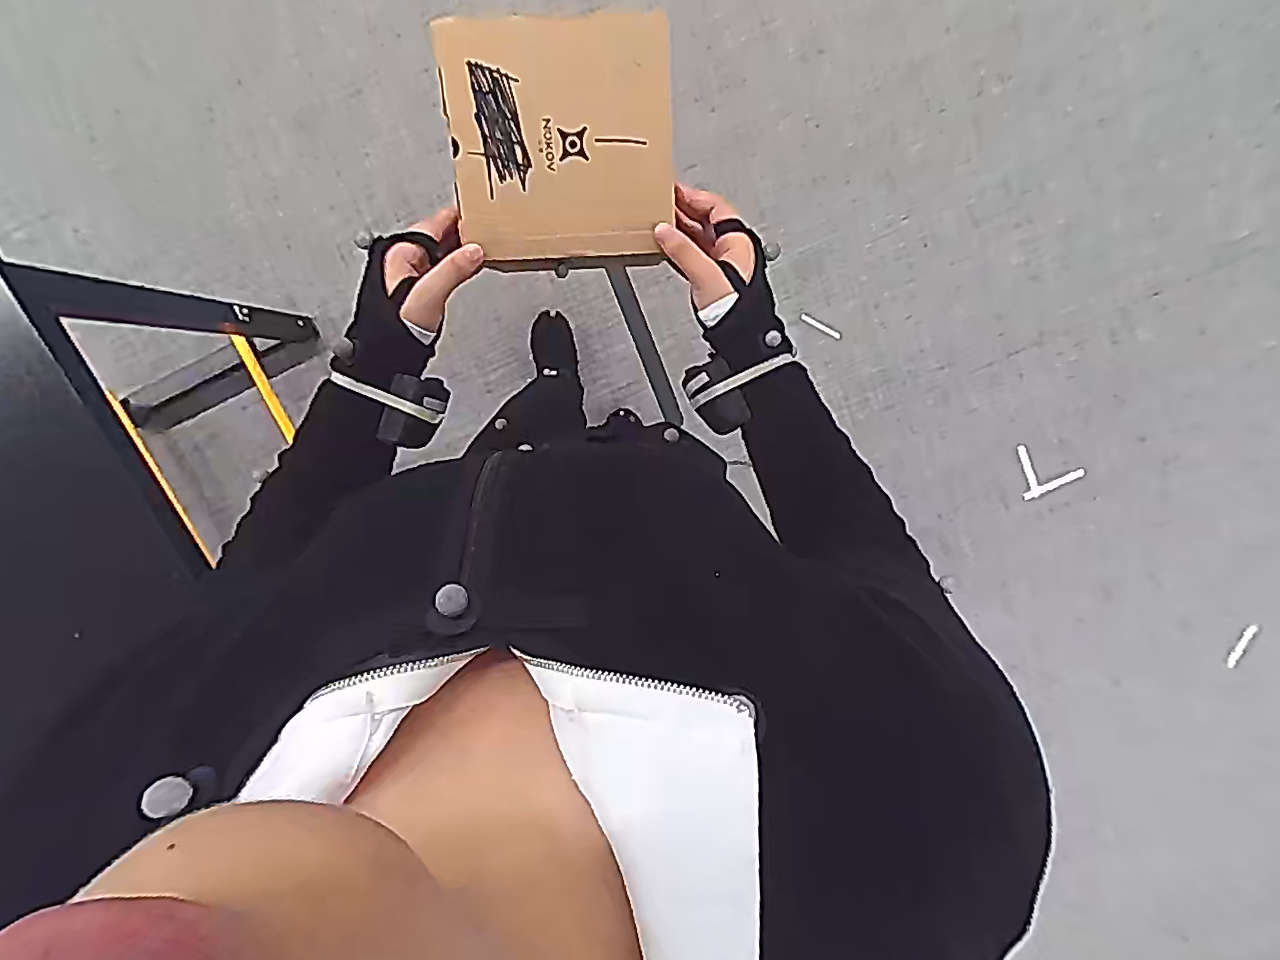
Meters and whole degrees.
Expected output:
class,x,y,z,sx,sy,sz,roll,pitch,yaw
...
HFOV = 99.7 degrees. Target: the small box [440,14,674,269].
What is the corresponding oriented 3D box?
class,x,y,z,sx,sy,sz,roll,pitch,yaw
small box,-0.064,-0.291,0.502,0.179,0.176,0.168,-3,108,-3
